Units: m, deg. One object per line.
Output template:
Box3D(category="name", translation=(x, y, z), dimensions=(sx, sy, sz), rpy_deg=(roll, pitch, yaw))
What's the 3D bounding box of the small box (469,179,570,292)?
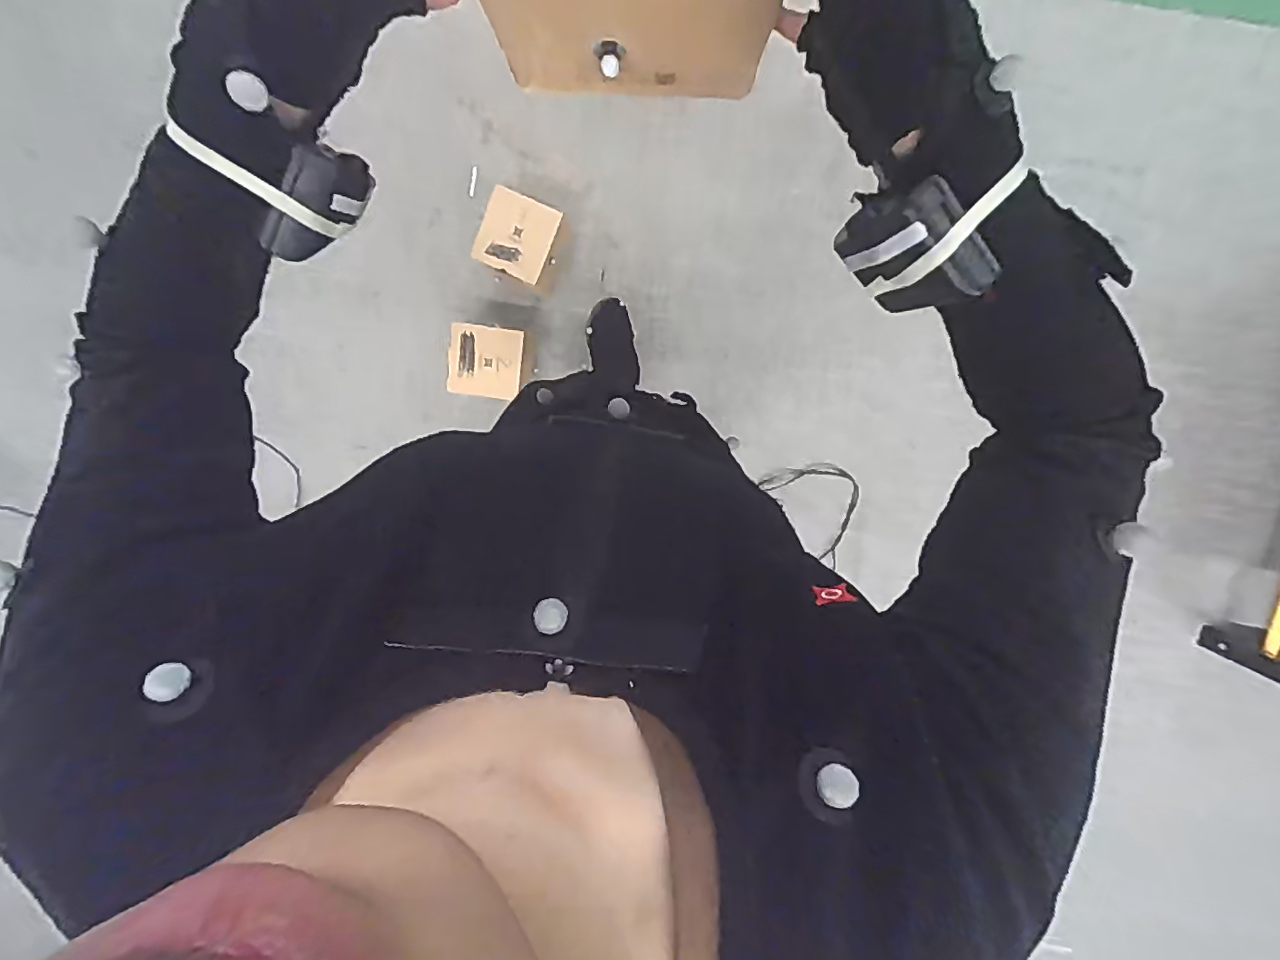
Box3D(category="small box", translation=(-0.281, -0.575, 1.301), dimensions=(0.168, 0.176, 0.179), rpy_deg=(24, 98, -3))
